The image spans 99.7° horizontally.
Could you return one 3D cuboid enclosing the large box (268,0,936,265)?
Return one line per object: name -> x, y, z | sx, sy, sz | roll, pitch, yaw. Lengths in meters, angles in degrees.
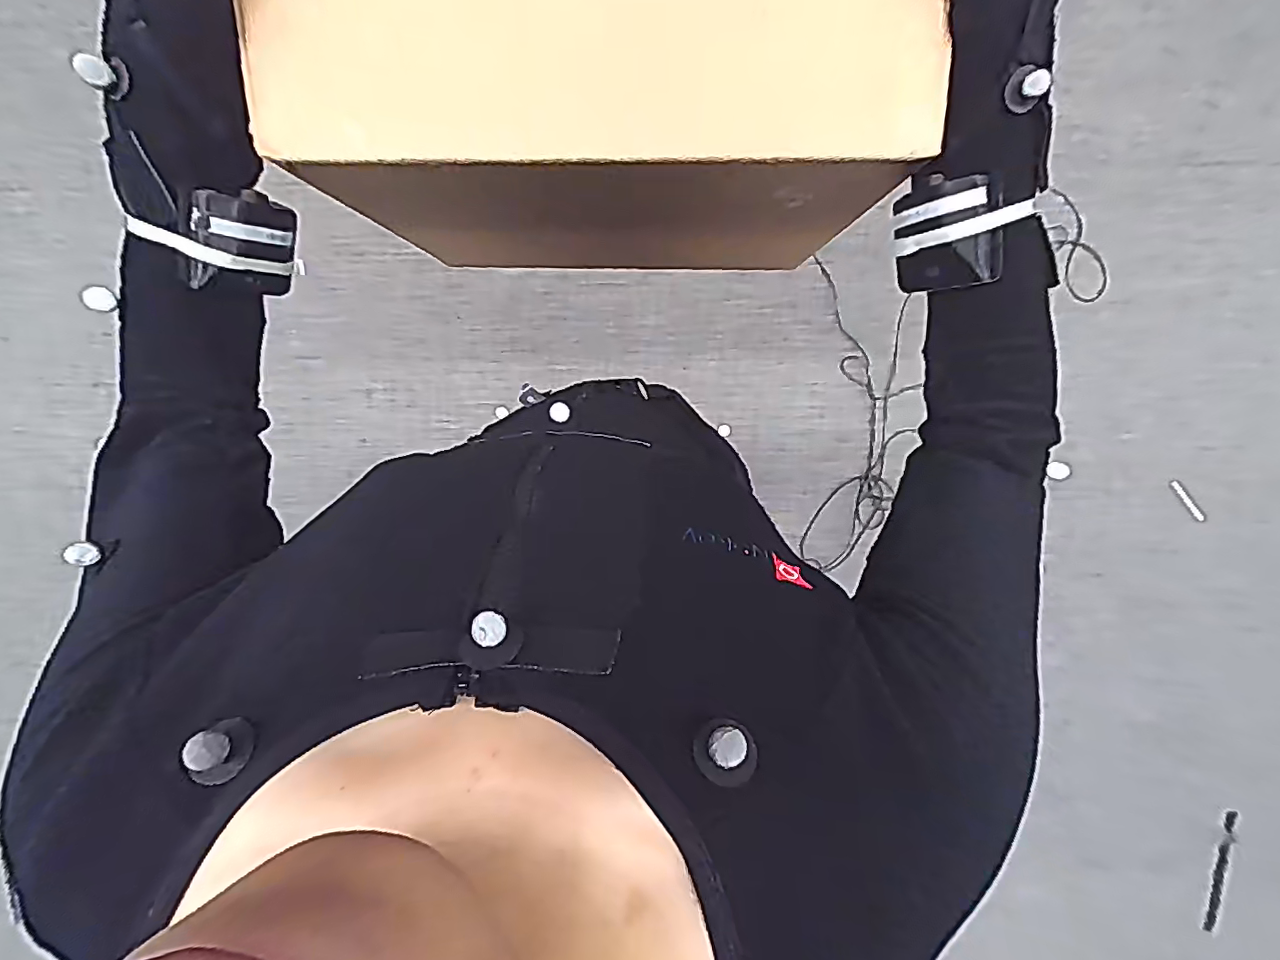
large box -> -0.023, -0.379, 0.455 | 0.408, 0.320, 0.320 | 0, 100, 0
